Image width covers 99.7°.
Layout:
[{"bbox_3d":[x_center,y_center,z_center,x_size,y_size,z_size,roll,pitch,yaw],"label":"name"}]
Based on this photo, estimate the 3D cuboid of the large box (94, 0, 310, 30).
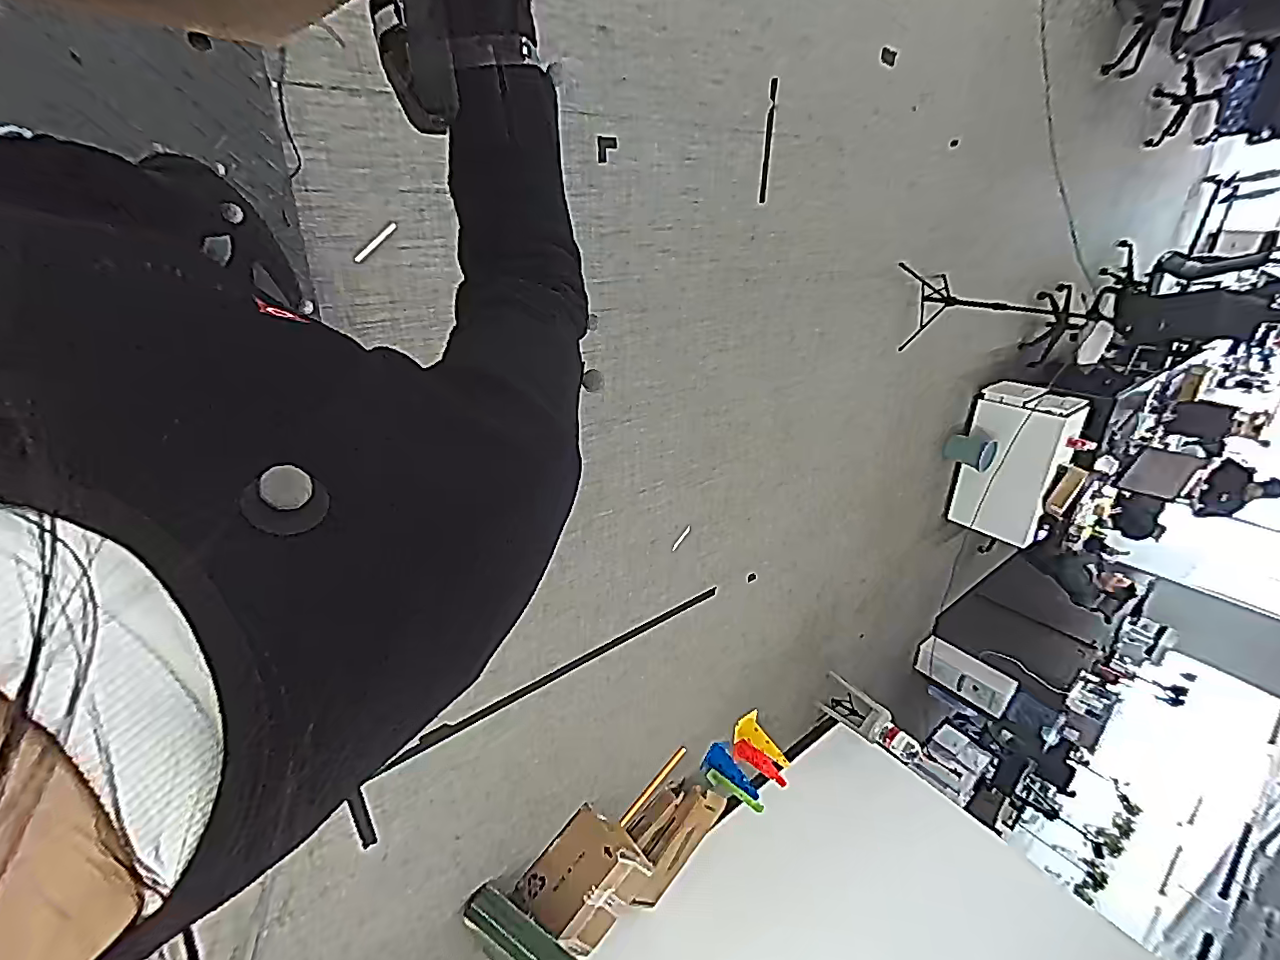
[{"bbox_3d":[-0.378,-0.416,0.198,0.408,0.320,0.320,-18,128,-35],"label":"large box"}]
